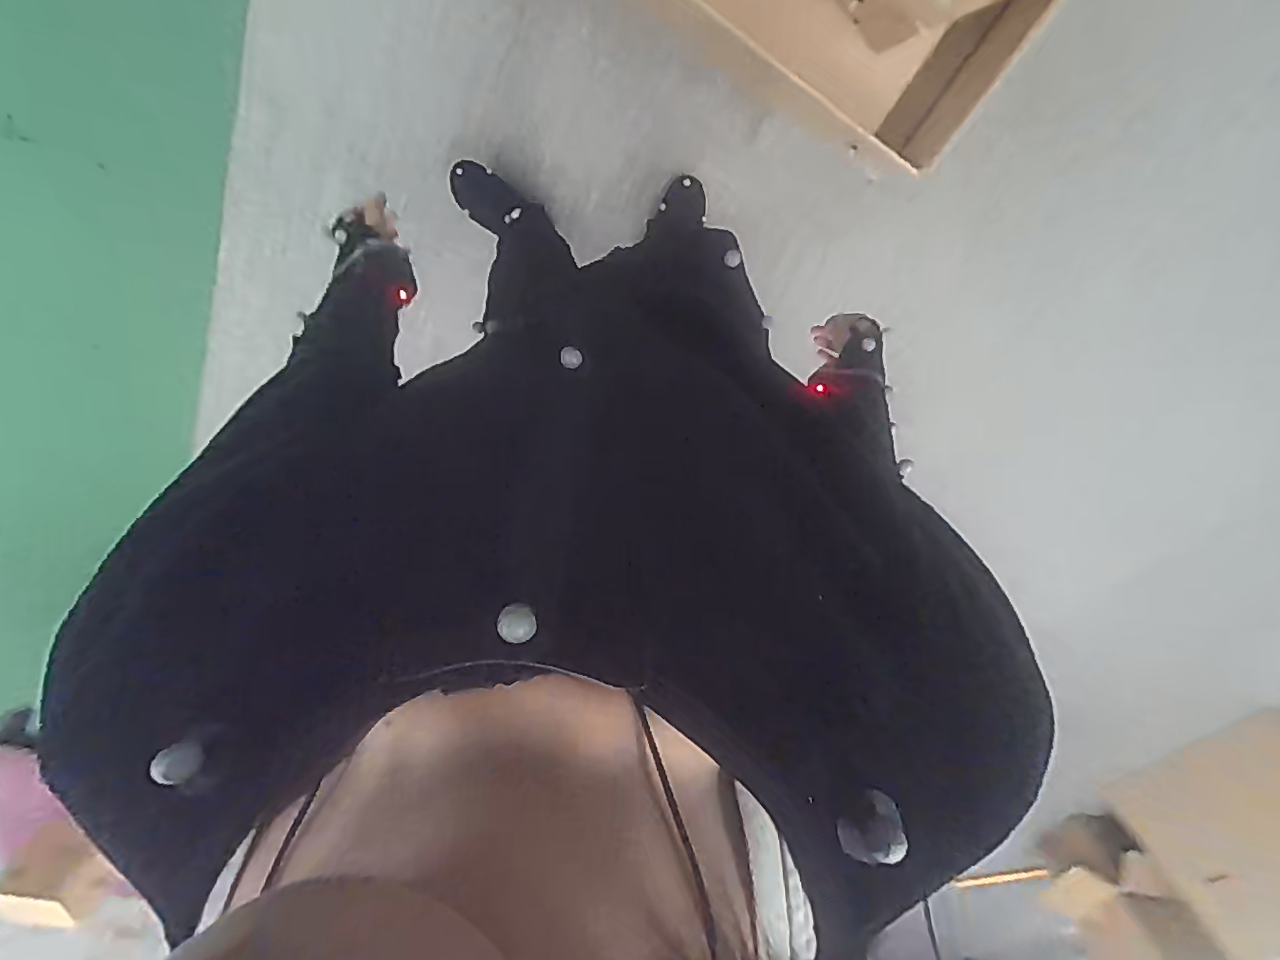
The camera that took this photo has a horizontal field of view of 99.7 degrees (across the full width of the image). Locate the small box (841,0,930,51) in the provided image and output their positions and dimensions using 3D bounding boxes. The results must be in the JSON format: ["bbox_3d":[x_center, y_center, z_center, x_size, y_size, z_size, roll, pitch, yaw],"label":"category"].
[{"bbox_3d":[0.334,-0.670,0.653,0.168,0.176,0.179,38,116,-18],"label":"small box"}]

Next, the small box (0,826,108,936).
[{"bbox_3d":[-1.489,0.994,1.345,0.179,0.176,0.168,11,121,-4],"label":"small box"}]

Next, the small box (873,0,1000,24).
[{"bbox_3d":[0.296,-0.580,0.516,0.179,0.176,0.168,22,118,-9],"label":"small box"}]
